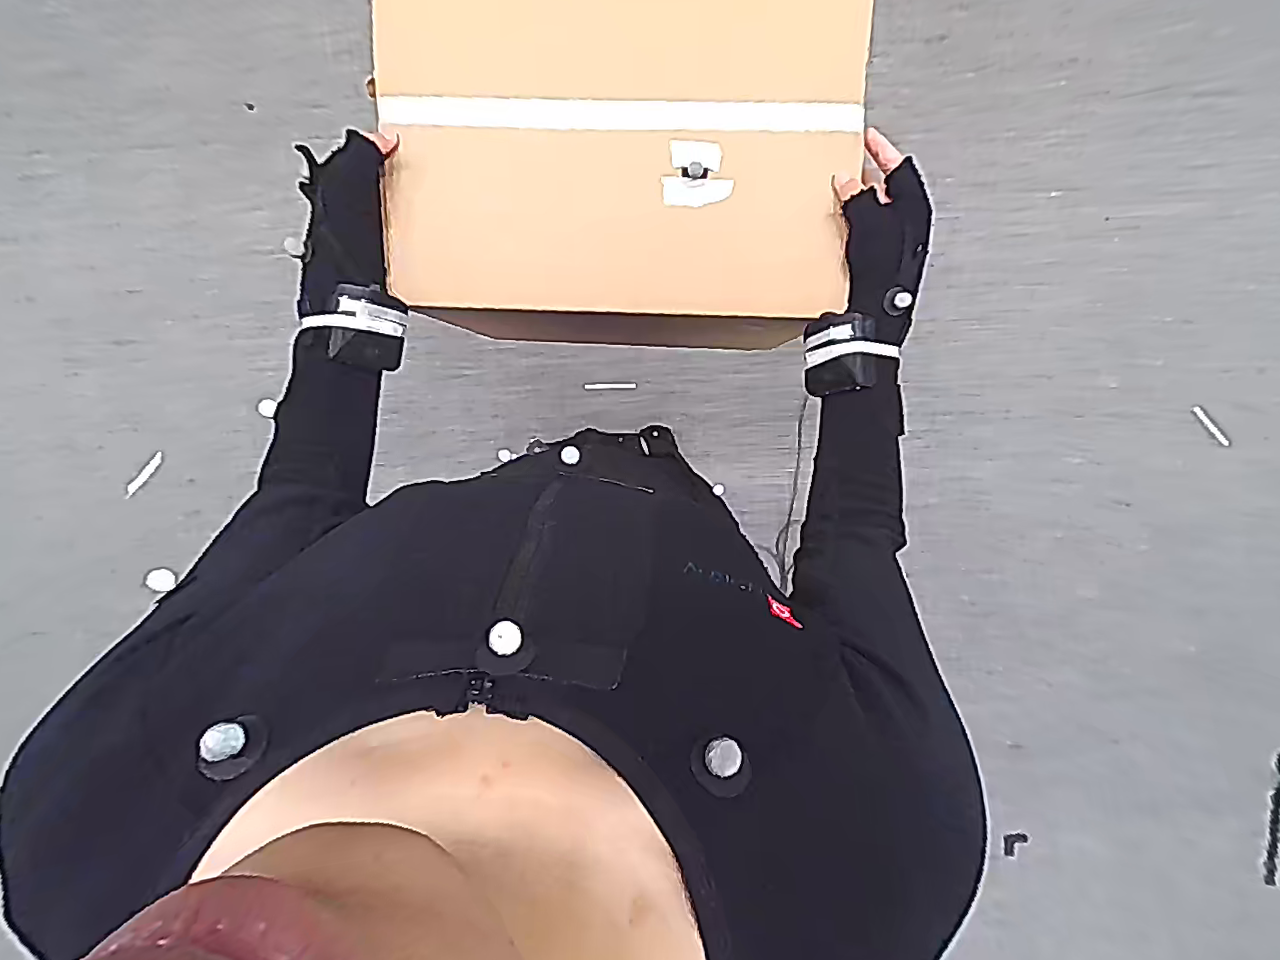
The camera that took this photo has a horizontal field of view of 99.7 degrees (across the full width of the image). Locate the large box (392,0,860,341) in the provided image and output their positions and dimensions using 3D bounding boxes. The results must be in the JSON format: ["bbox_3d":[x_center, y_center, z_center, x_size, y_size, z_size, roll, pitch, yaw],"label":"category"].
[{"bbox_3d":[-0.014,-0.332,0.616,0.408,0.320,0.320,2,100,1],"label":"large box"}]
